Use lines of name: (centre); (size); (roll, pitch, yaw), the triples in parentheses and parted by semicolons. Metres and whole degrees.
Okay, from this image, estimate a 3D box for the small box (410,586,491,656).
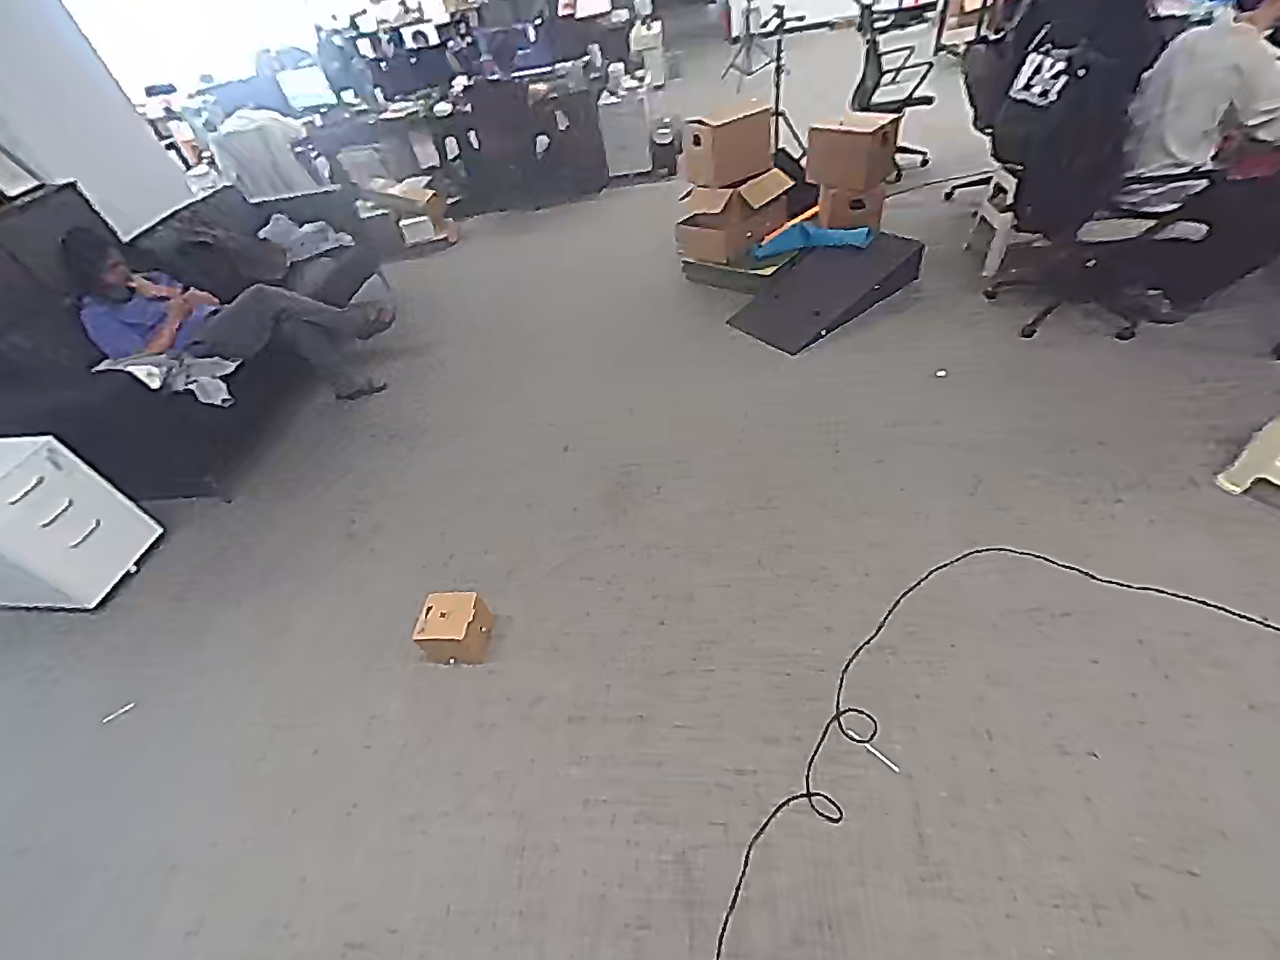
small box: (-0.610, 0.463, 1.770); (0.179, 0.176, 0.168); (-2, 45, 9)
